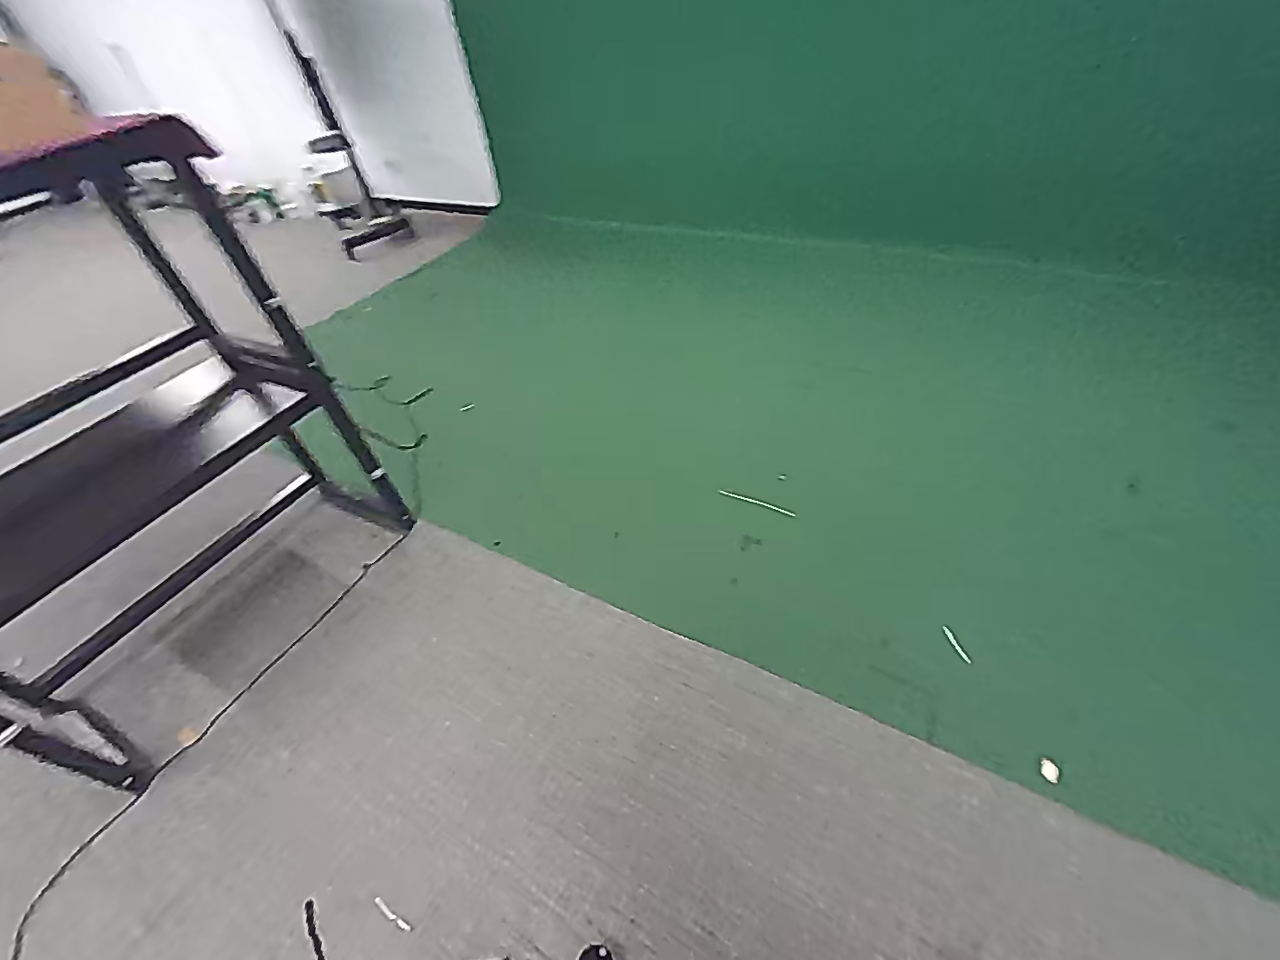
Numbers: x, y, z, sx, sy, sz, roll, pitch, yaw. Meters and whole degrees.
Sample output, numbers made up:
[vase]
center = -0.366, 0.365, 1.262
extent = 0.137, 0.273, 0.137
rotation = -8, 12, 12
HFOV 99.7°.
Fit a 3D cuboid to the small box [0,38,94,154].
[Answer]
[small box]
center = -1.342, -0.806, 1.145
extent = 0.168, 0.176, 0.179
rotation = 17, 50, 25
